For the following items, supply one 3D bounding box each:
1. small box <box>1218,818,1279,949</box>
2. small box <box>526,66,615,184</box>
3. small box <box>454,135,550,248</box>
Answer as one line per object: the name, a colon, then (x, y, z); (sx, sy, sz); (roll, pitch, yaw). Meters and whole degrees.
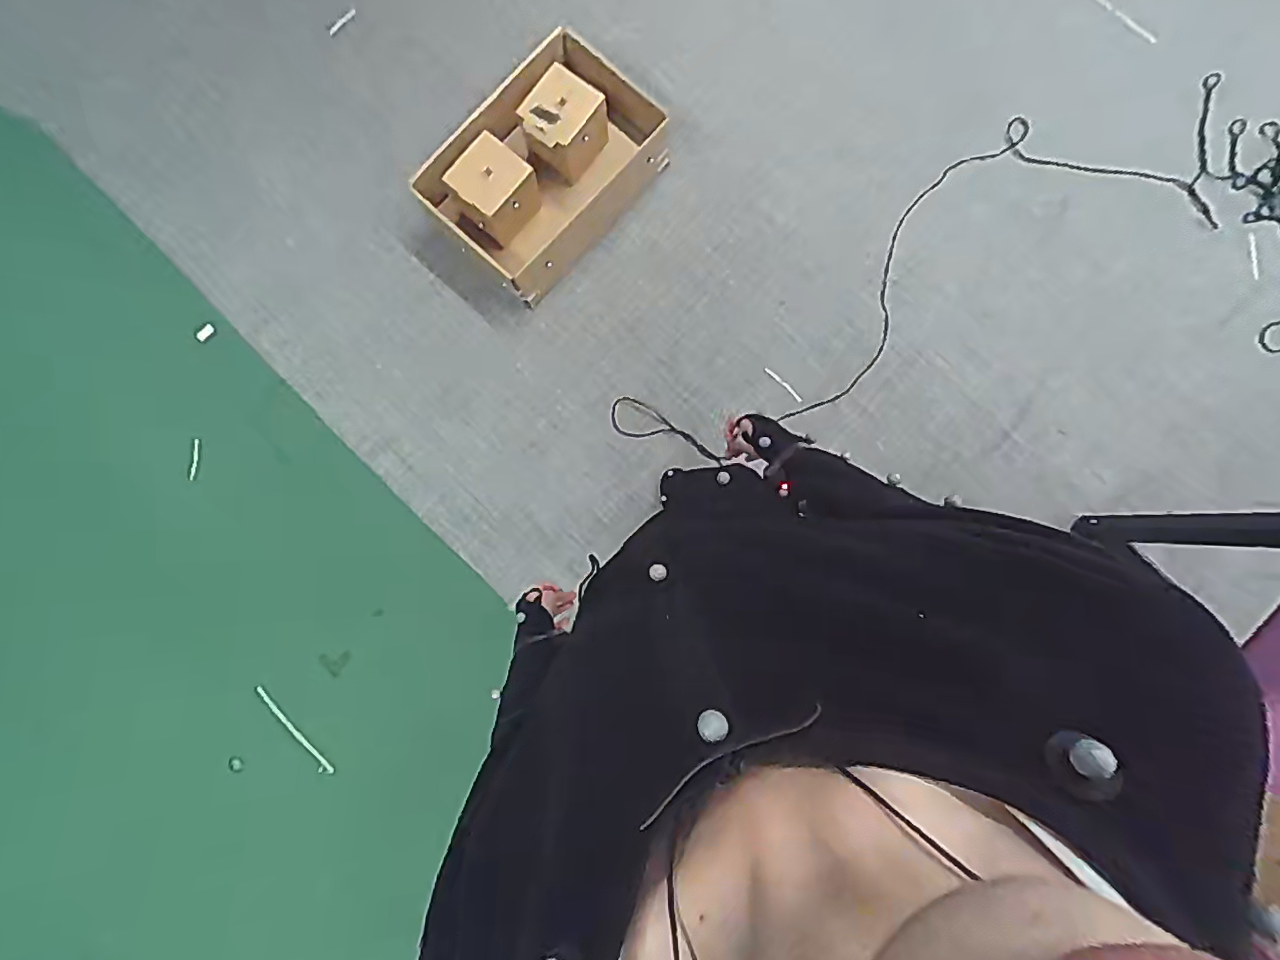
small box: (0.880, 0.536, 0.644); (0.168, 0.176, 0.179); (-45, 86, -1)
small box: (-0.180, -0.966, 1.488); (0.168, 0.176, 0.179); (36, 88, 3)
small box: (-0.367, -0.777, 1.480); (0.168, 0.176, 0.179); (40, 87, 3)
